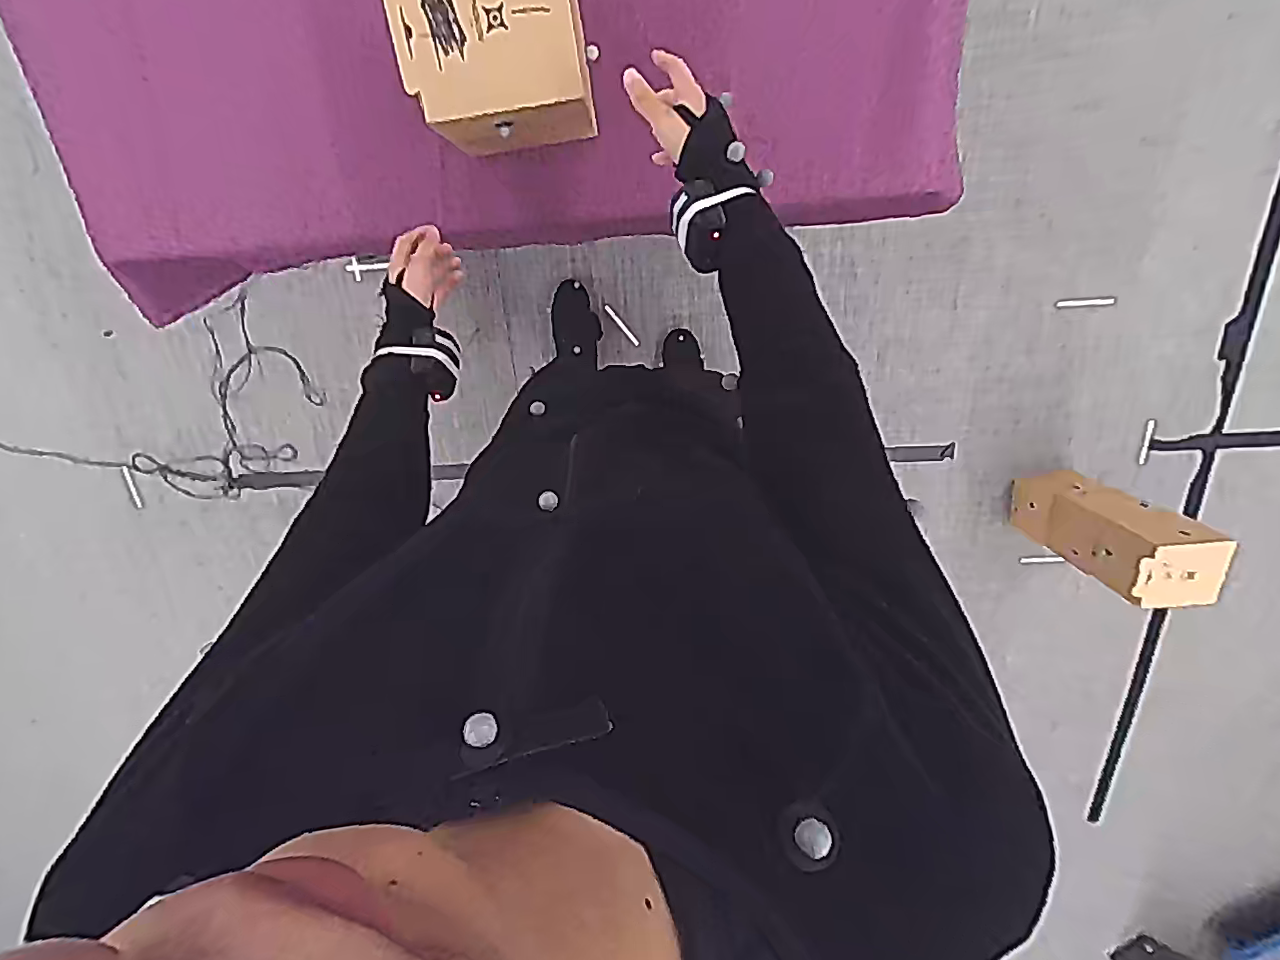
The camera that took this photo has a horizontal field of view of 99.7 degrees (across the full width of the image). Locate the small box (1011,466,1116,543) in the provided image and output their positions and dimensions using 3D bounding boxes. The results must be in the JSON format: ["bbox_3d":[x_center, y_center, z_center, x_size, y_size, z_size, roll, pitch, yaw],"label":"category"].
[{"bbox_3d":[1.240,0.069,1.598,0.179,0.176,0.168,-7,111,3],"label":"small box"}]

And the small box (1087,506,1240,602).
[{"bbox_3d":[1.225,0.169,1.282,0.179,0.176,0.168,-4,112,3],"label":"small box"}]

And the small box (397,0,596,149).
[{"bbox_3d":[-0.154,-0.498,0.619,0.179,0.176,0.168,-7,110,3],"label":"small box"}]
